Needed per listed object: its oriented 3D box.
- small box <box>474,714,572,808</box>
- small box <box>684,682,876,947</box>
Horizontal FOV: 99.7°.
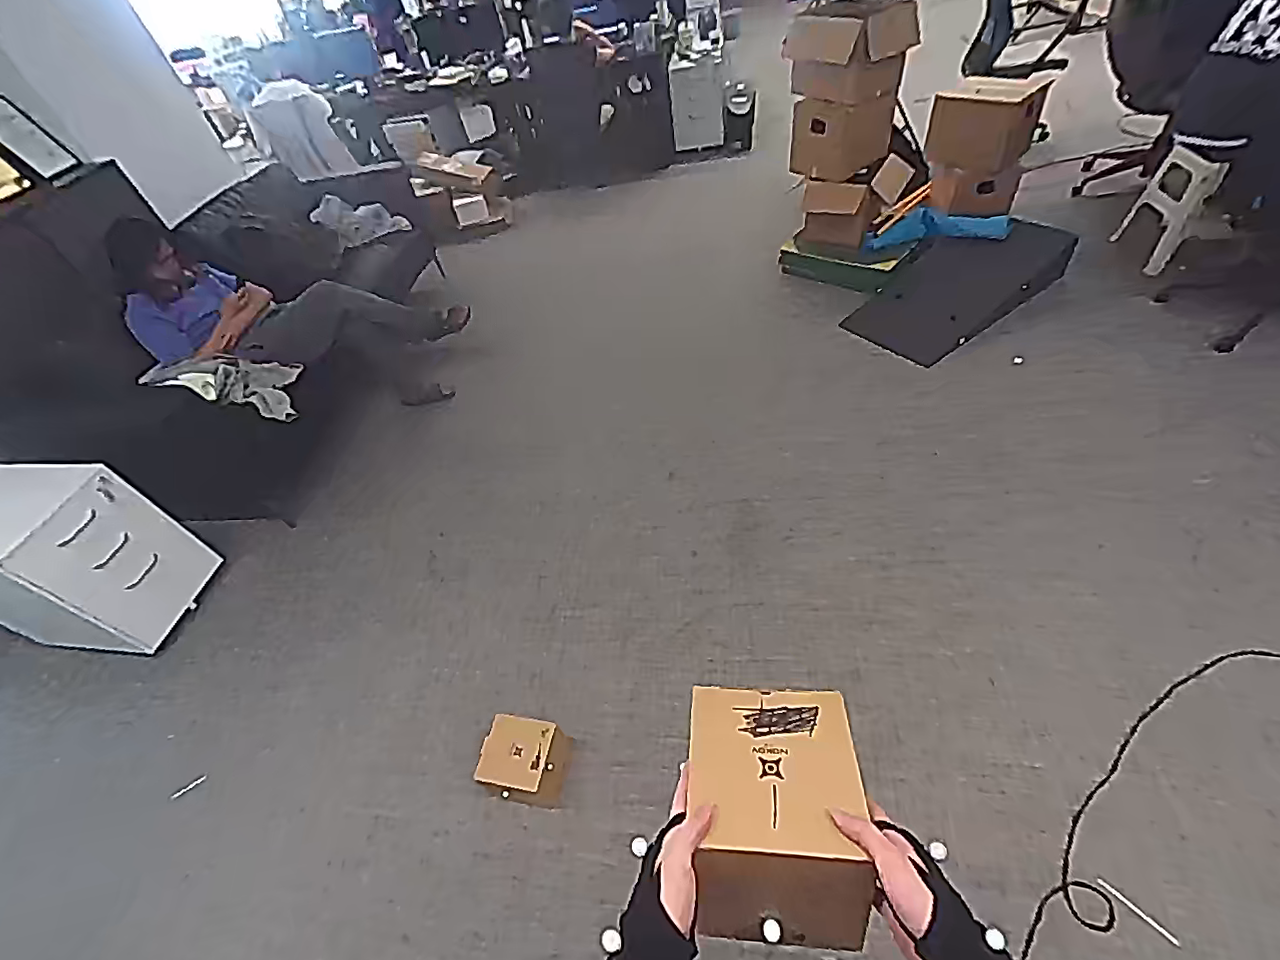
[{"bbox_3d":[-0.301,0.743,1.427,0.179,0.176,0.168,3,47,15],"label":"small box"},{"bbox_3d":[0.139,0.344,0.577,0.168,0.176,0.179,-2,28,10],"label":"small box"}]
